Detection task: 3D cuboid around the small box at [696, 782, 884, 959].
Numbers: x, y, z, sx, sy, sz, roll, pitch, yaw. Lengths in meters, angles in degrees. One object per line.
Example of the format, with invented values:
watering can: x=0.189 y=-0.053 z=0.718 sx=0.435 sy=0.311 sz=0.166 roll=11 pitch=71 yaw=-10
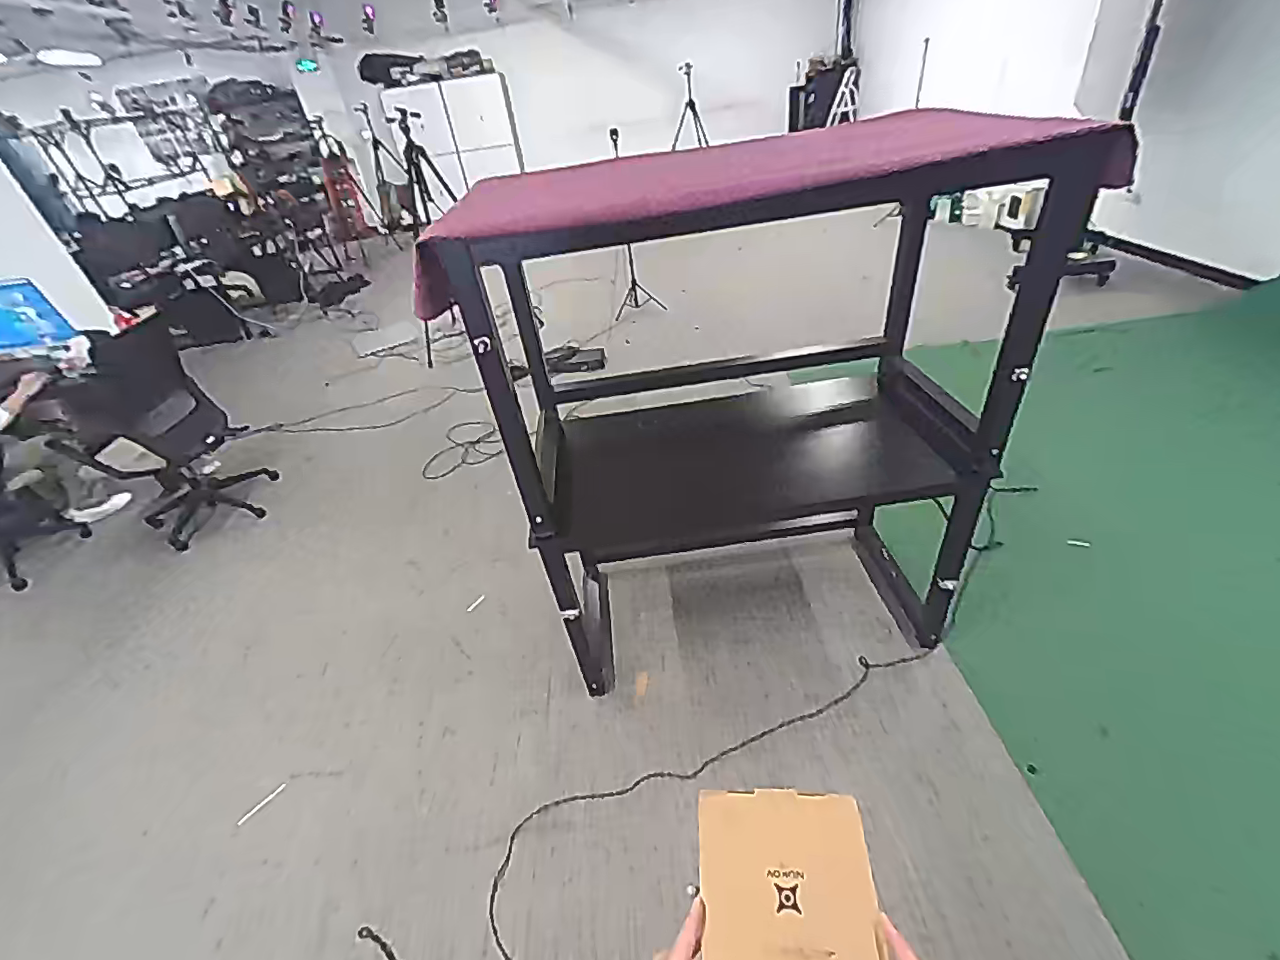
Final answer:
small box: x=0.143 y=0.445 z=0.569 sx=0.168 sy=0.176 sz=0.179 roll=-1 pitch=44 yaw=7
